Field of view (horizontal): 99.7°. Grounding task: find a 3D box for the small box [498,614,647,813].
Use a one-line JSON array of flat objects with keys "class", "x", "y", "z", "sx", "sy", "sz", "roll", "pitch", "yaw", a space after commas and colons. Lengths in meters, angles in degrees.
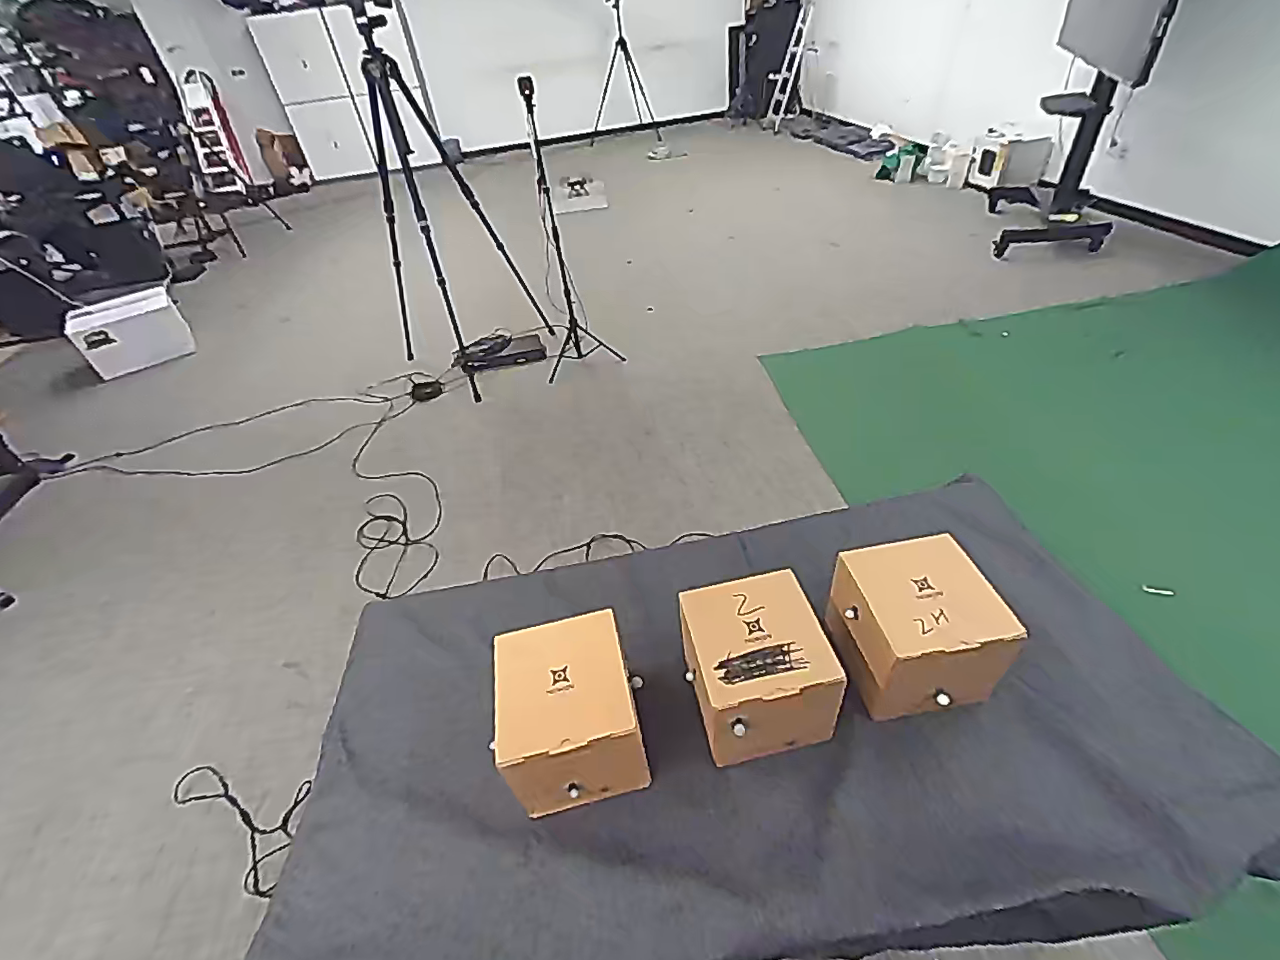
[{"class": "small box", "x": -0.091, "y": 0.316, "z": 0.738, "sx": 0.168, "sy": 0.176, "sz": 0.179, "roll": -12, "pitch": 41, "yaw": -5}]
